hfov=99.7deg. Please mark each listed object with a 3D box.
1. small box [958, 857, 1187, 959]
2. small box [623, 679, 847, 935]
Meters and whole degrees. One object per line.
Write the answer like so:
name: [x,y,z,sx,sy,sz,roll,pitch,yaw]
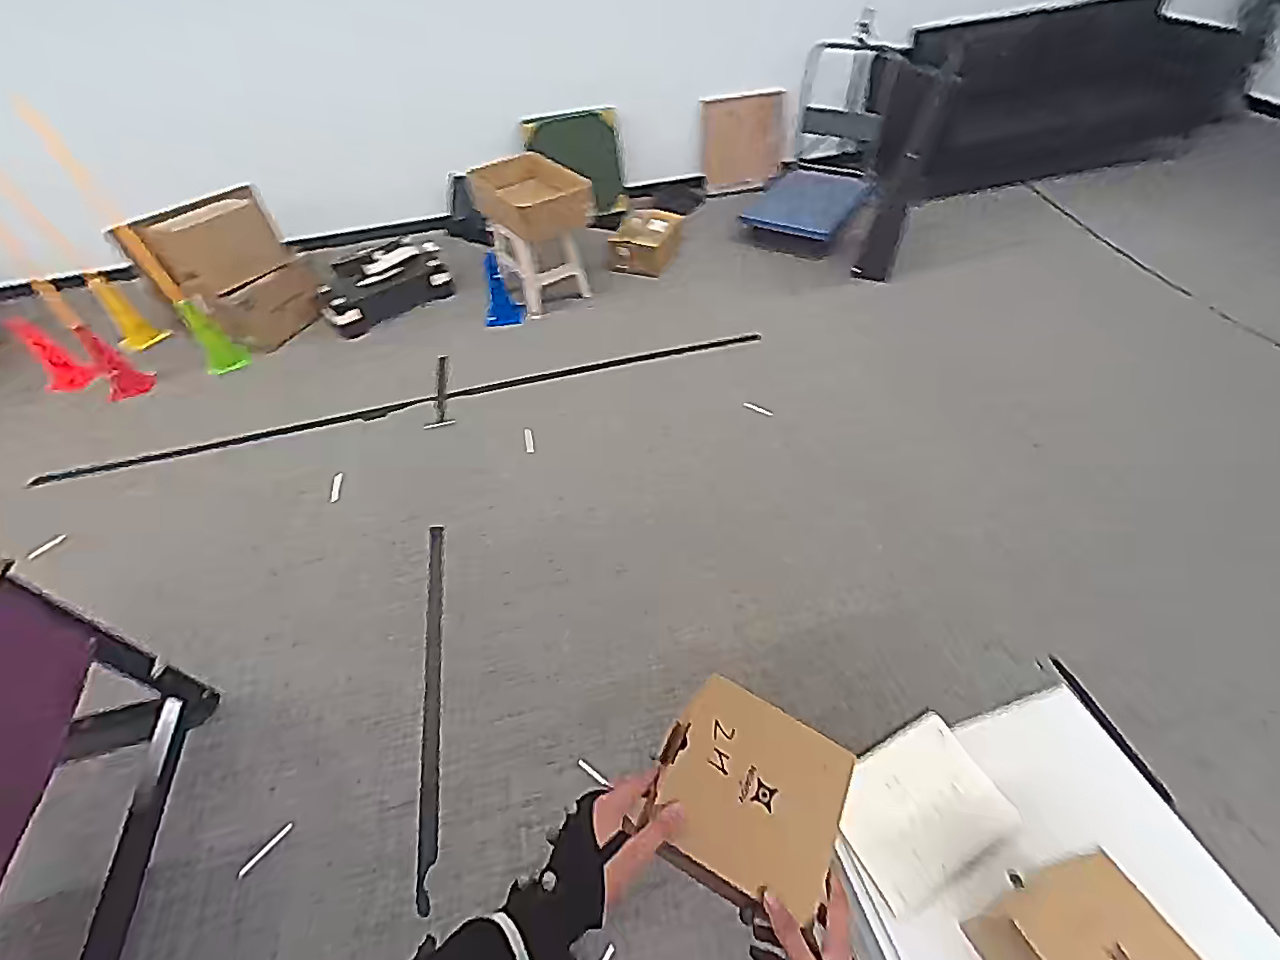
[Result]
small box: [0.557,0.622,0.686,0.168,0.176,0.179,-21,50,-15]
small box: [0.097,0.358,0.609,0.179,0.176,0.168,27,56,11]
